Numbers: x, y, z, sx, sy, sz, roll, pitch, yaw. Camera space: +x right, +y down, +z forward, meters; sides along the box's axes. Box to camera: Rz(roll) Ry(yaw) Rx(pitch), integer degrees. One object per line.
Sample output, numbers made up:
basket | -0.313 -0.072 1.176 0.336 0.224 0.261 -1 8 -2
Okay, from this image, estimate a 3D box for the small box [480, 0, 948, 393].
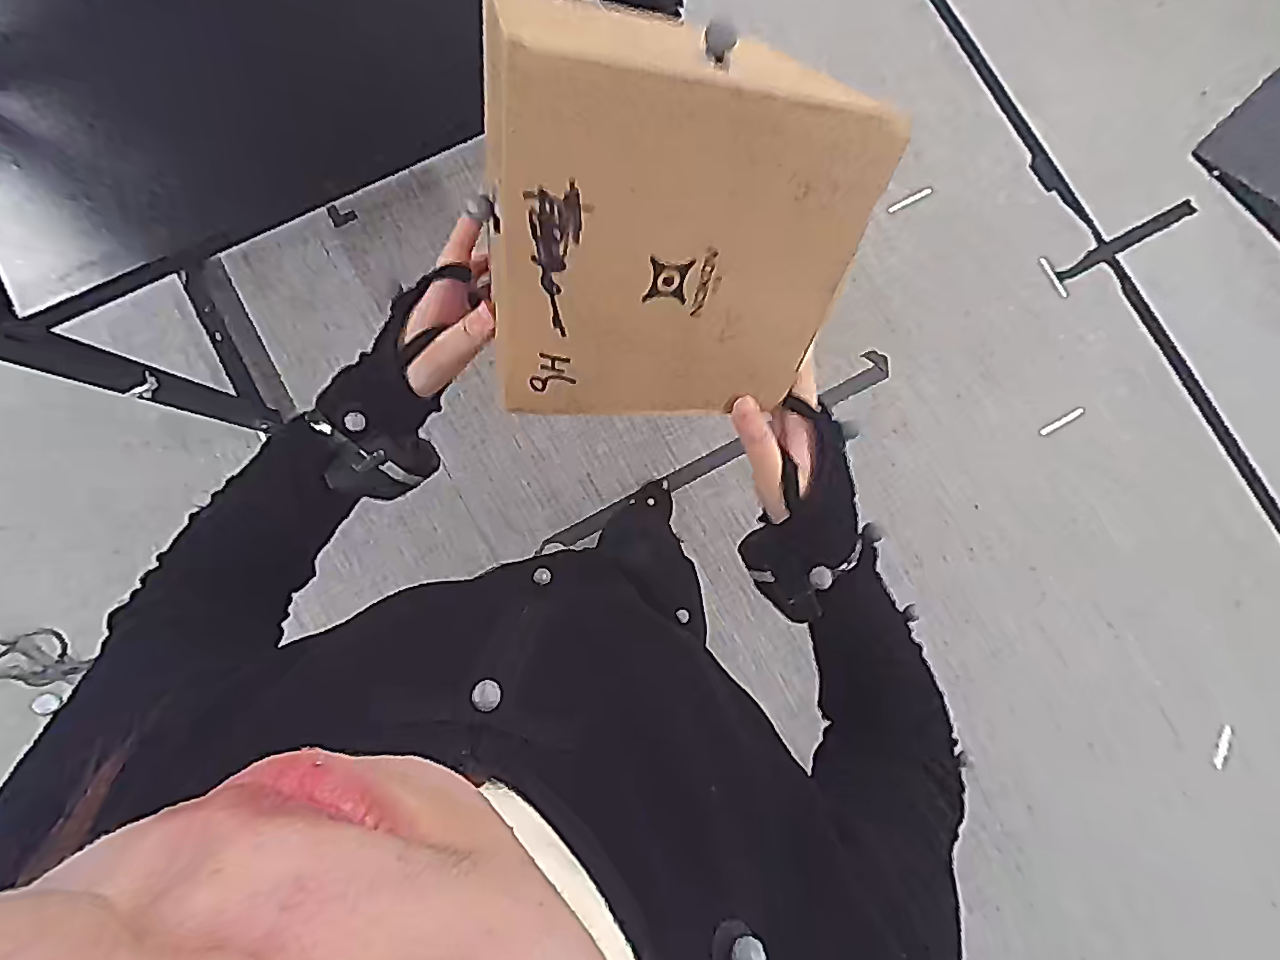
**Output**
small box | 0.008 -0.164 0.297 0.179 0.168 0.176 -3 47 -17
